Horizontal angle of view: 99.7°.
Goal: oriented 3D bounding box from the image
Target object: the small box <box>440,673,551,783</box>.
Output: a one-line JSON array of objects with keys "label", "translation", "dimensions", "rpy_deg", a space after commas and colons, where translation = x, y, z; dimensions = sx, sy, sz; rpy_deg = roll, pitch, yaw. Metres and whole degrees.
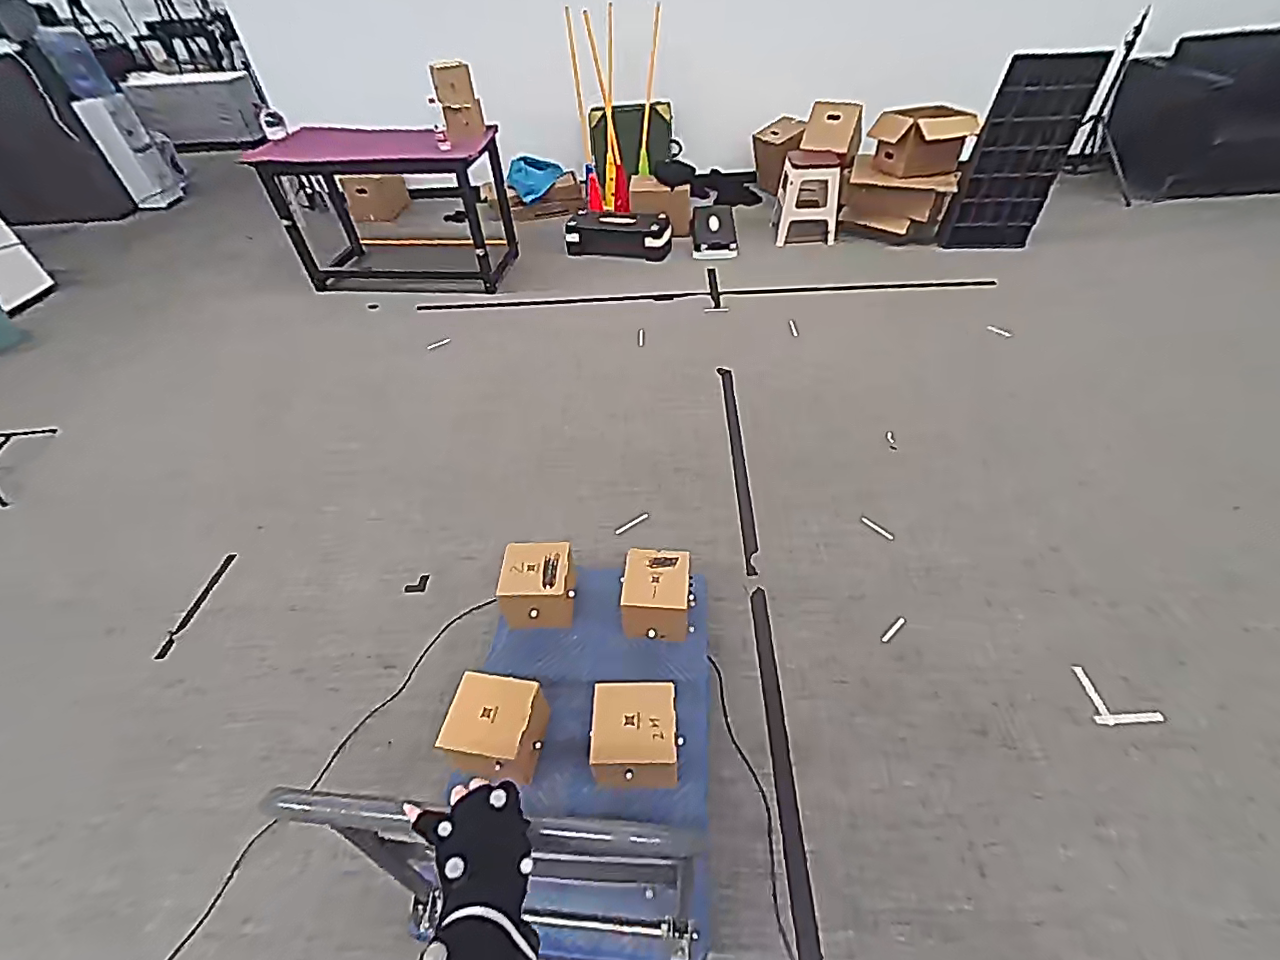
[{"label": "small box", "translation": [-0.311, 0.554, 1.206], "dimensions": [0.179, 0.176, 0.168], "rpy_deg": [6, 46, 7]}]

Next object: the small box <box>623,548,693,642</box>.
[{"label": "small box", "translation": [0.051, 0.303, 1.429], "dimensions": [0.168, 0.176, 0.179], "rpy_deg": [2, 47, 6]}]

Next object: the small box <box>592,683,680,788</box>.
[{"label": "small box", "translation": [-0.003, 0.558, 1.179], "dimensions": [0.179, 0.176, 0.168], "rpy_deg": [-2, 45, 3]}]
